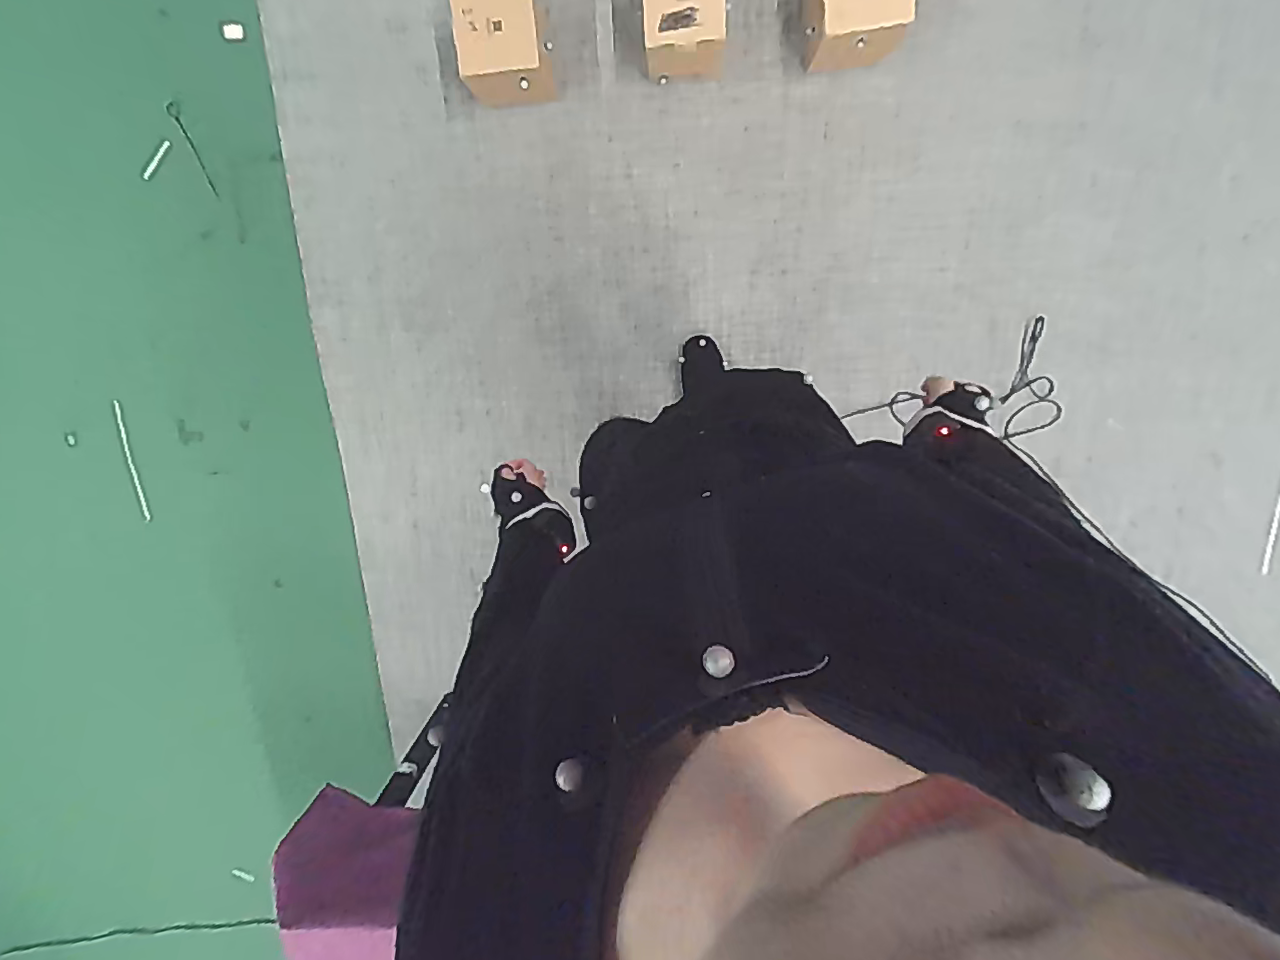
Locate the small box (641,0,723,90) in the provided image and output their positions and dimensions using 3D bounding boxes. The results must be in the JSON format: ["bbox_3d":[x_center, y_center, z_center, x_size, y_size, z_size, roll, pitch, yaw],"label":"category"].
[{"bbox_3d":[0.092,-0.974,1.166,0.168,0.176,0.179,-2,103,5],"label":"small box"}]

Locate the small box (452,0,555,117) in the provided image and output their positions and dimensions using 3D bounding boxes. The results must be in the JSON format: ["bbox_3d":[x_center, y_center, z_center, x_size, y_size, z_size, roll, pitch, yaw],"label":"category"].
[{"bbox_3d":[-0.293,-0.941,1.206,0.179,0.176,0.168,-2,103,5],"label":"small box"}]

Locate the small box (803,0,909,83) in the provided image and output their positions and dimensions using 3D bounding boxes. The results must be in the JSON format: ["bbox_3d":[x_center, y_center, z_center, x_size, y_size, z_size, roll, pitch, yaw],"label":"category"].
[{"bbox_3d":[0.445,-0.971,1.138,0.179,0.176,0.168,-4,105,5],"label":"small box"}]
